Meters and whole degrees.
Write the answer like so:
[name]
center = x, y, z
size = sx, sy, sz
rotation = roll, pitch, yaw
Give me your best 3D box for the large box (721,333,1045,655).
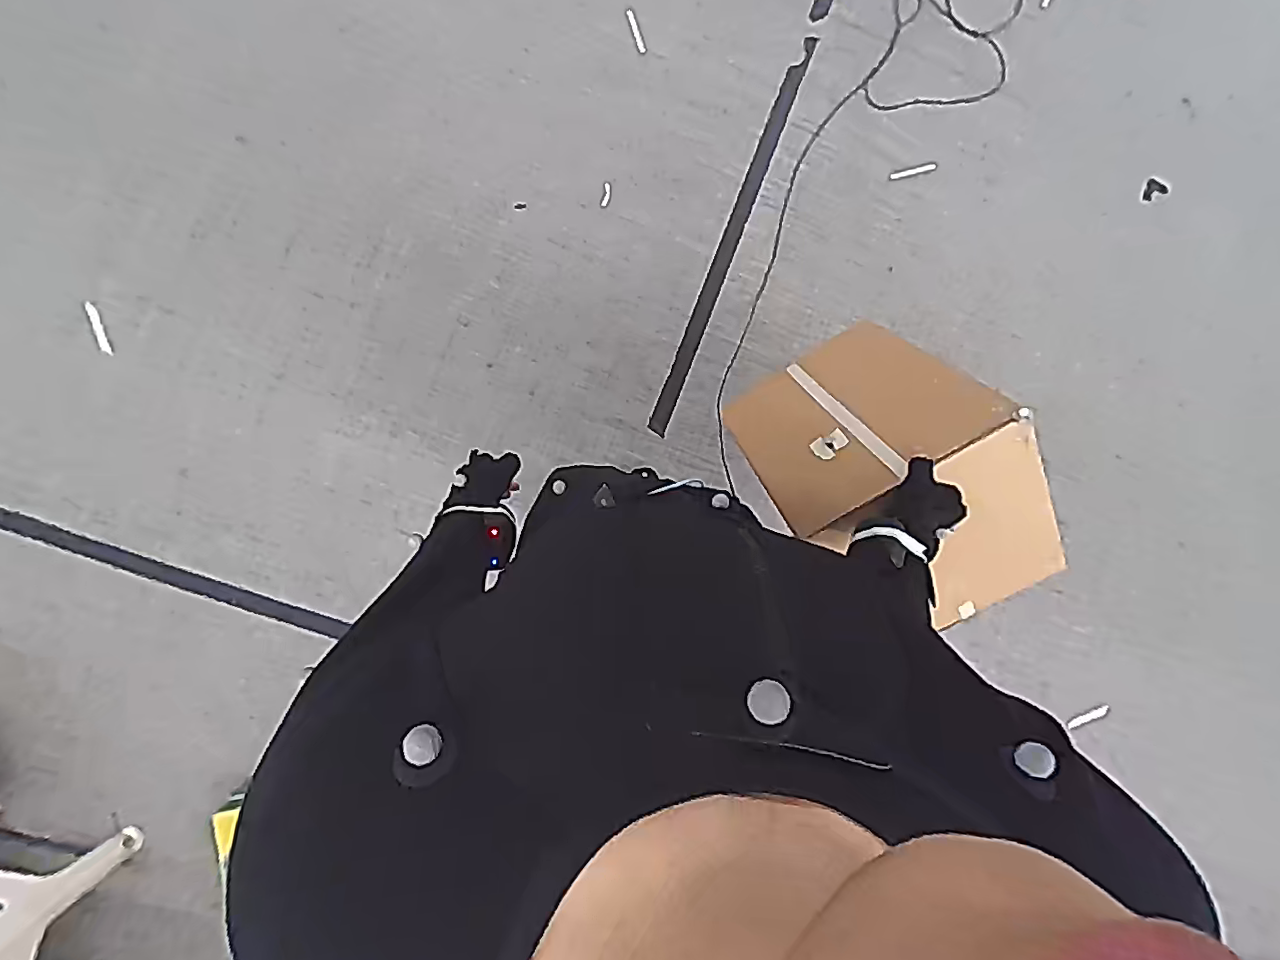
[large box]
center = 0.387, 0.007, 0.932
size = 0.320, 0.408, 0.320
rotation = -31, 122, 11
